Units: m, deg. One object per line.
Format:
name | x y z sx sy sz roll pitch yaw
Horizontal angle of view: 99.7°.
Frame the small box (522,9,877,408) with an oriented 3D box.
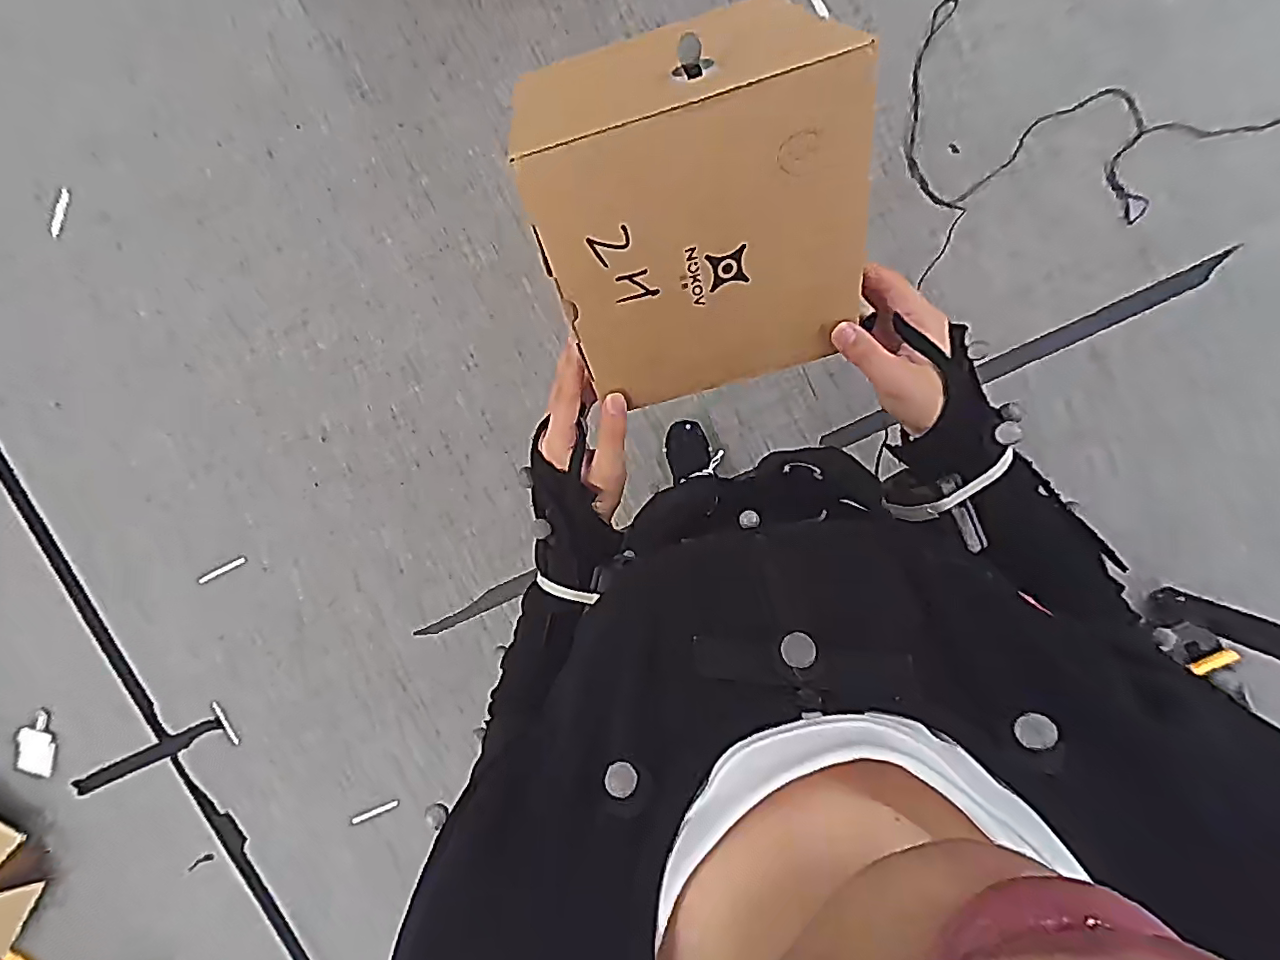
small box | 0.031 -0.181 0.363 0.179 0.176 0.168 -14 137 5
